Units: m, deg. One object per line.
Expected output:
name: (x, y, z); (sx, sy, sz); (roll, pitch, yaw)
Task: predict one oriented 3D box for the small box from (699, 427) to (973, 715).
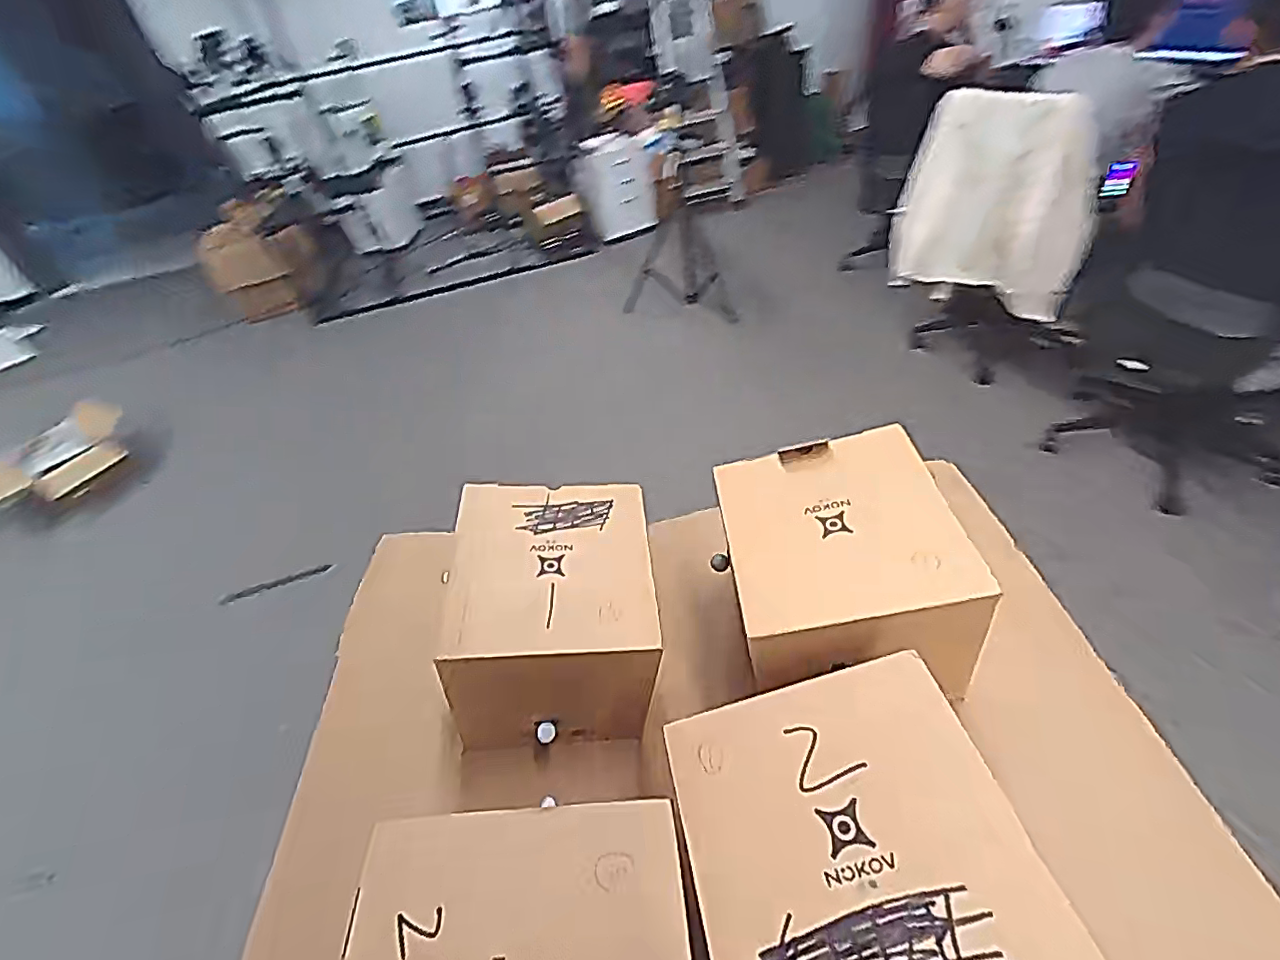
small box: (0.159, 0.087, 0.476); (0.168, 0.176, 0.179); (-14, 42, 8)
